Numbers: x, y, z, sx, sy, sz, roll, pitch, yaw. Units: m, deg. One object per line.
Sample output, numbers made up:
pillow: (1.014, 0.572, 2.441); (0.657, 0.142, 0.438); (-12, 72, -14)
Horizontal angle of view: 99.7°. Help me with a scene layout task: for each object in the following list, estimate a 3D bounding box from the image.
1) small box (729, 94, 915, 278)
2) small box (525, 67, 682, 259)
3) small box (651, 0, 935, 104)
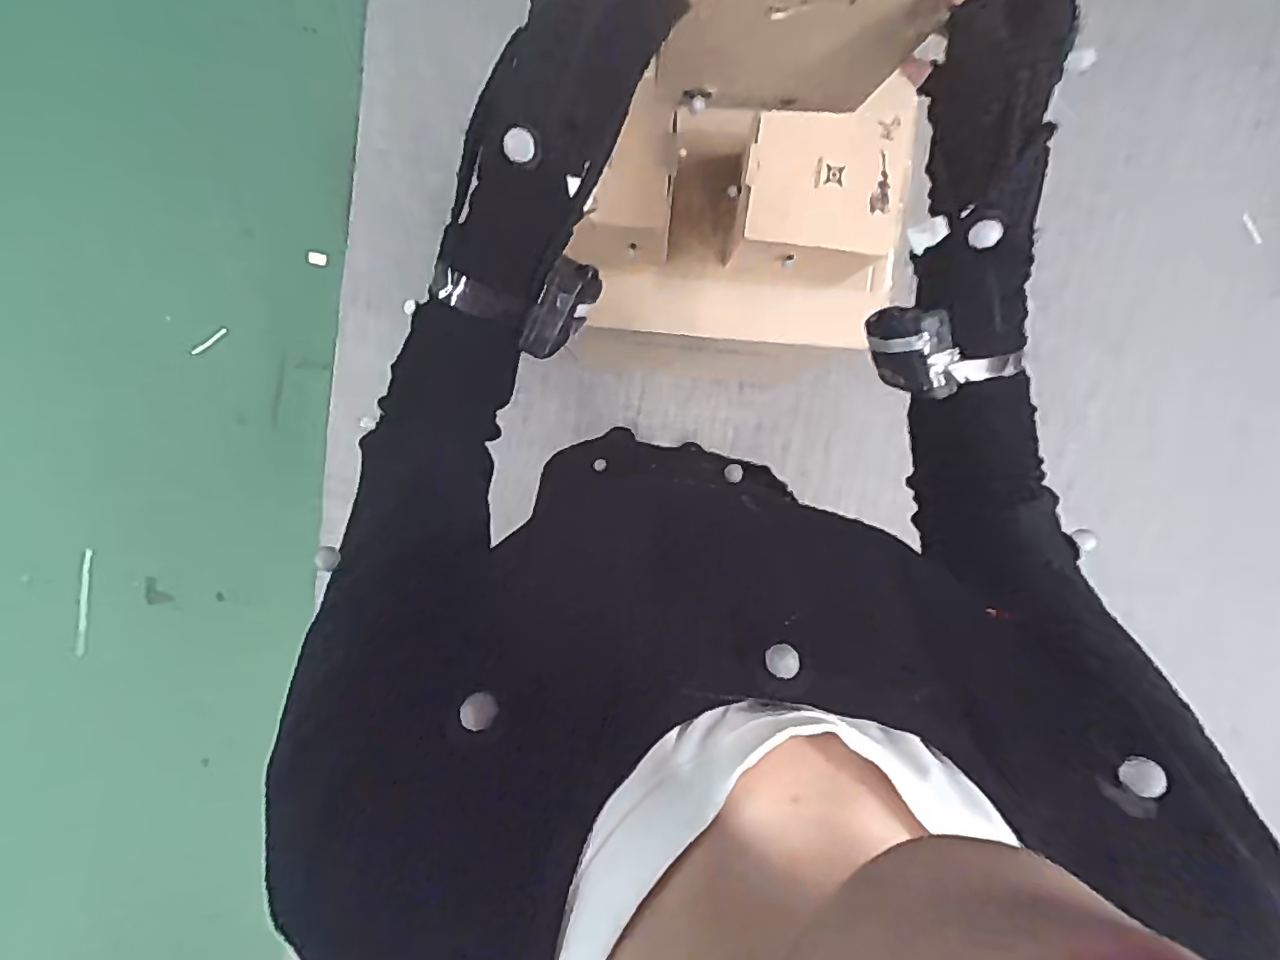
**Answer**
small box: (0.219, -0.372, 0.705); (0.179, 0.176, 0.168); (8, 99, 1)
small box: (-0.042, -0.399, 0.711); (0.179, 0.176, 0.168); (5, 98, 2)
small box: (0.095, -0.367, 0.340); (0.168, 0.176, 0.179); (0, 104, -2)
